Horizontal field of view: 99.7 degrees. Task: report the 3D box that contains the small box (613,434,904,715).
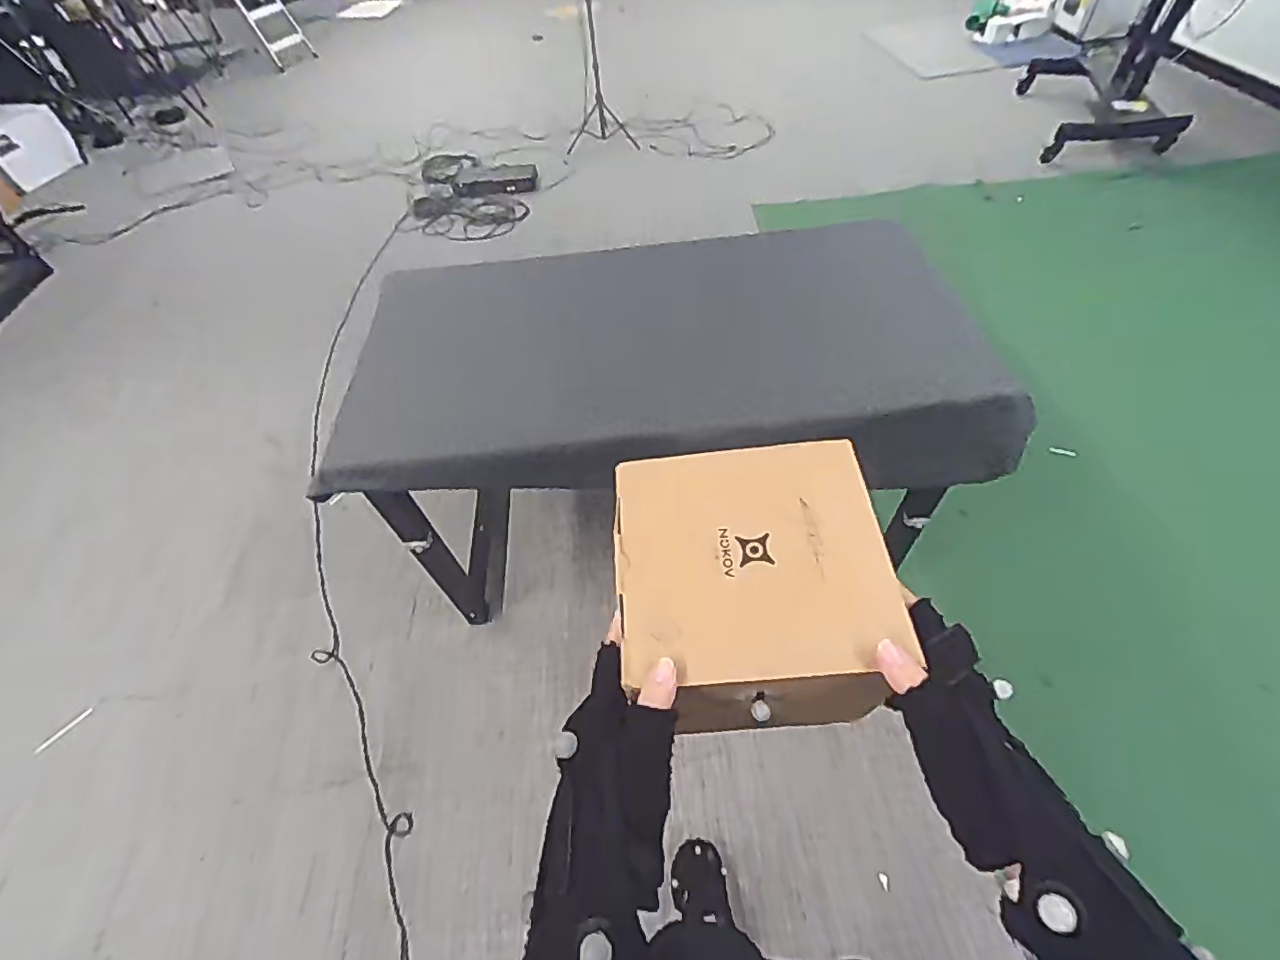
[{"bbox_3d":[0.077,0.084,0.437,0.179,0.176,0.168,-5,56,2],"label":"small box"}]
